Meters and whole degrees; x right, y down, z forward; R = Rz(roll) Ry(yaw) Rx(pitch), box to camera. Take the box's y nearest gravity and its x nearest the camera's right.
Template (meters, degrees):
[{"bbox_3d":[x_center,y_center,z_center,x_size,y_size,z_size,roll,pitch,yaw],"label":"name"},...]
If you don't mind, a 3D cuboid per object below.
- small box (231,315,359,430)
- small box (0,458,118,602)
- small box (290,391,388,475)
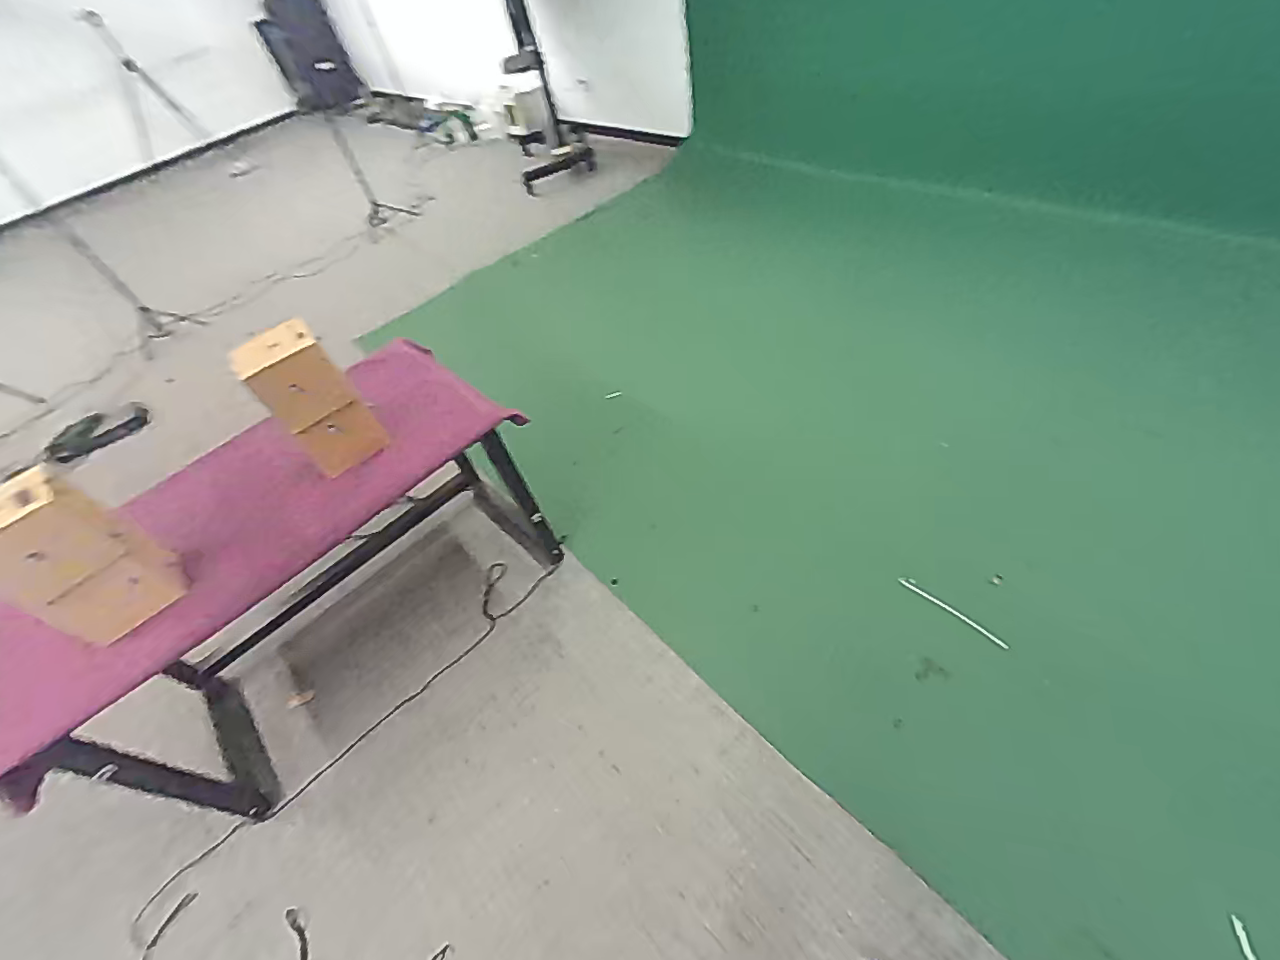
[{"bbox_3d":[-0.803,-0.249,1.268,0.179,0.176,0.168,-36,52,-17],"label":"small box"},{"bbox_3d":[-1.164,0.096,1.040,0.168,0.176,0.179,32,63,33],"label":"small box"},{"bbox_3d":[-0.783,-0.149,1.397,0.179,0.176,0.168,-36,52,-17],"label":"small box"}]
